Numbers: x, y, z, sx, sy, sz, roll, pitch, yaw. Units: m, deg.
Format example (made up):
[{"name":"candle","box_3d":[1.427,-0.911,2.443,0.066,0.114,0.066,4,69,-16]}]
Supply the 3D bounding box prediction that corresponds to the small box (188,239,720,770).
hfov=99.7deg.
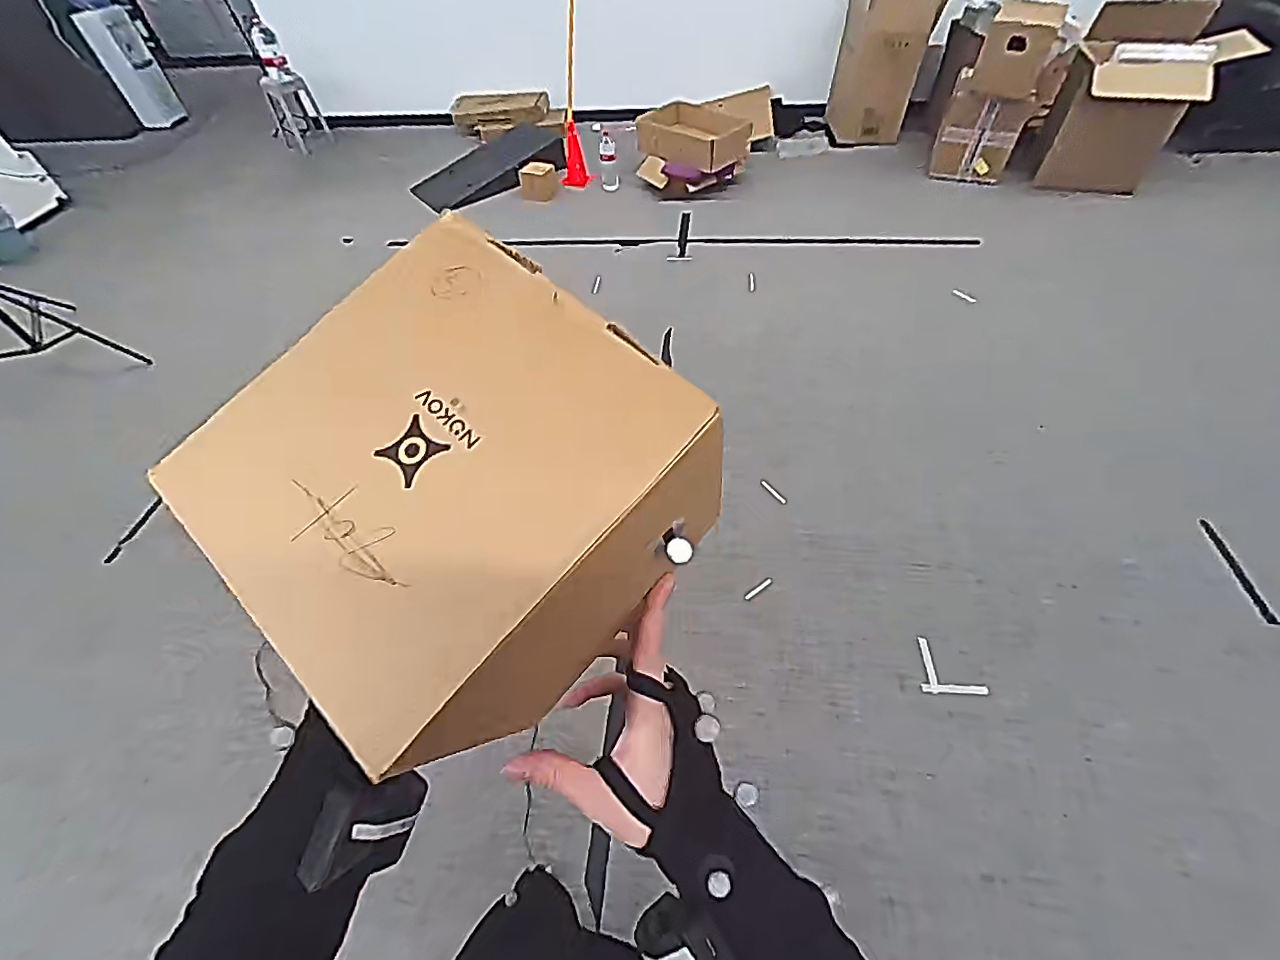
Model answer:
[{"name":"small box","box_3d":[-0.074,0.017,0.302,0.168,0.176,0.179,39,81,19]}]
